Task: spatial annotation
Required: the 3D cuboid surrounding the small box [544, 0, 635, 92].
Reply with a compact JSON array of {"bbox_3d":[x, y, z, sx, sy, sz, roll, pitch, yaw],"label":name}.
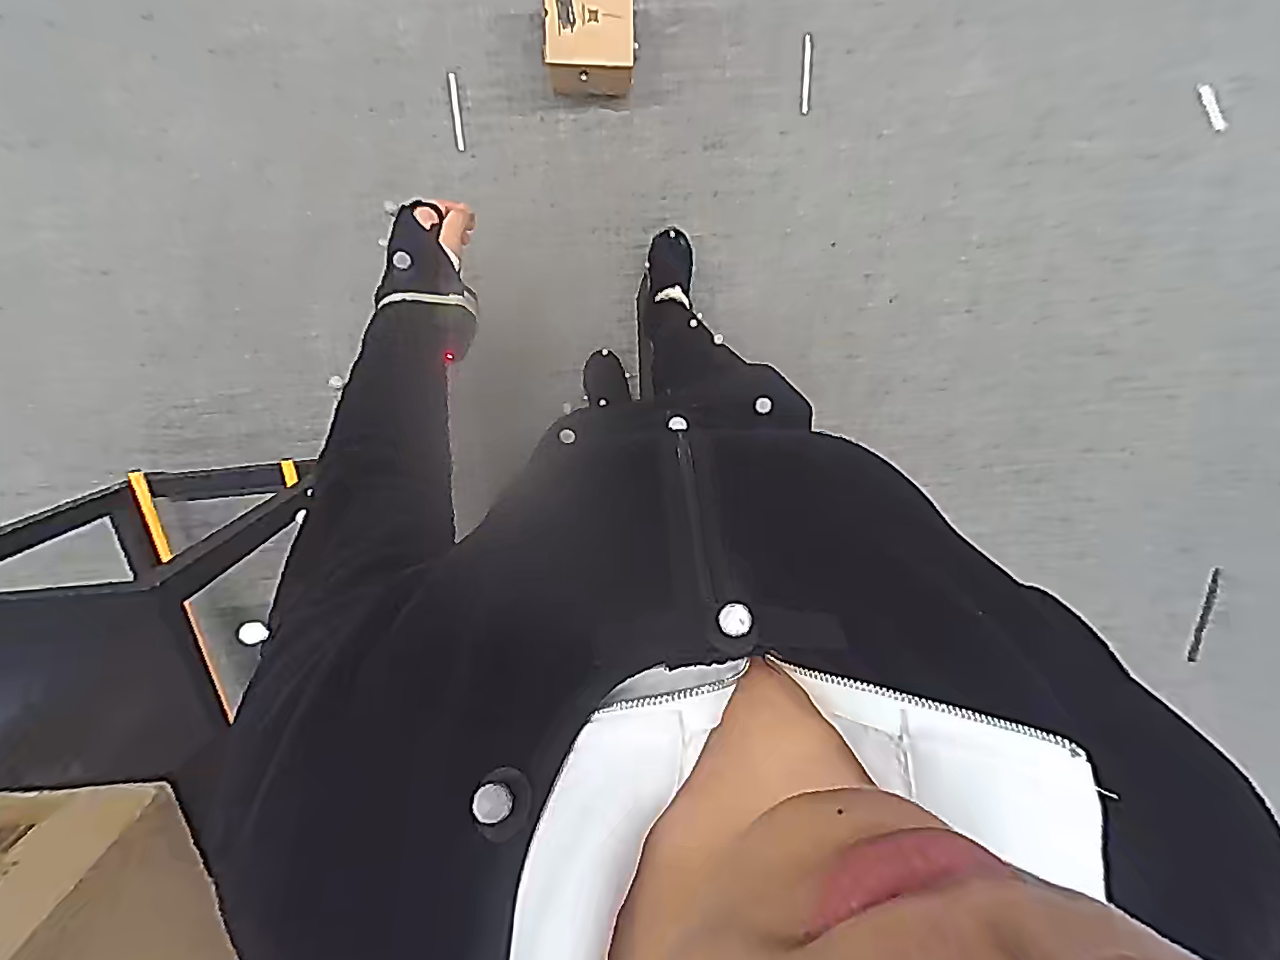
[{"bbox_3d":[-0.102,-0.924,1.113,0.179,0.176,0.168,-1,109,-4],"label":"small box"}]
